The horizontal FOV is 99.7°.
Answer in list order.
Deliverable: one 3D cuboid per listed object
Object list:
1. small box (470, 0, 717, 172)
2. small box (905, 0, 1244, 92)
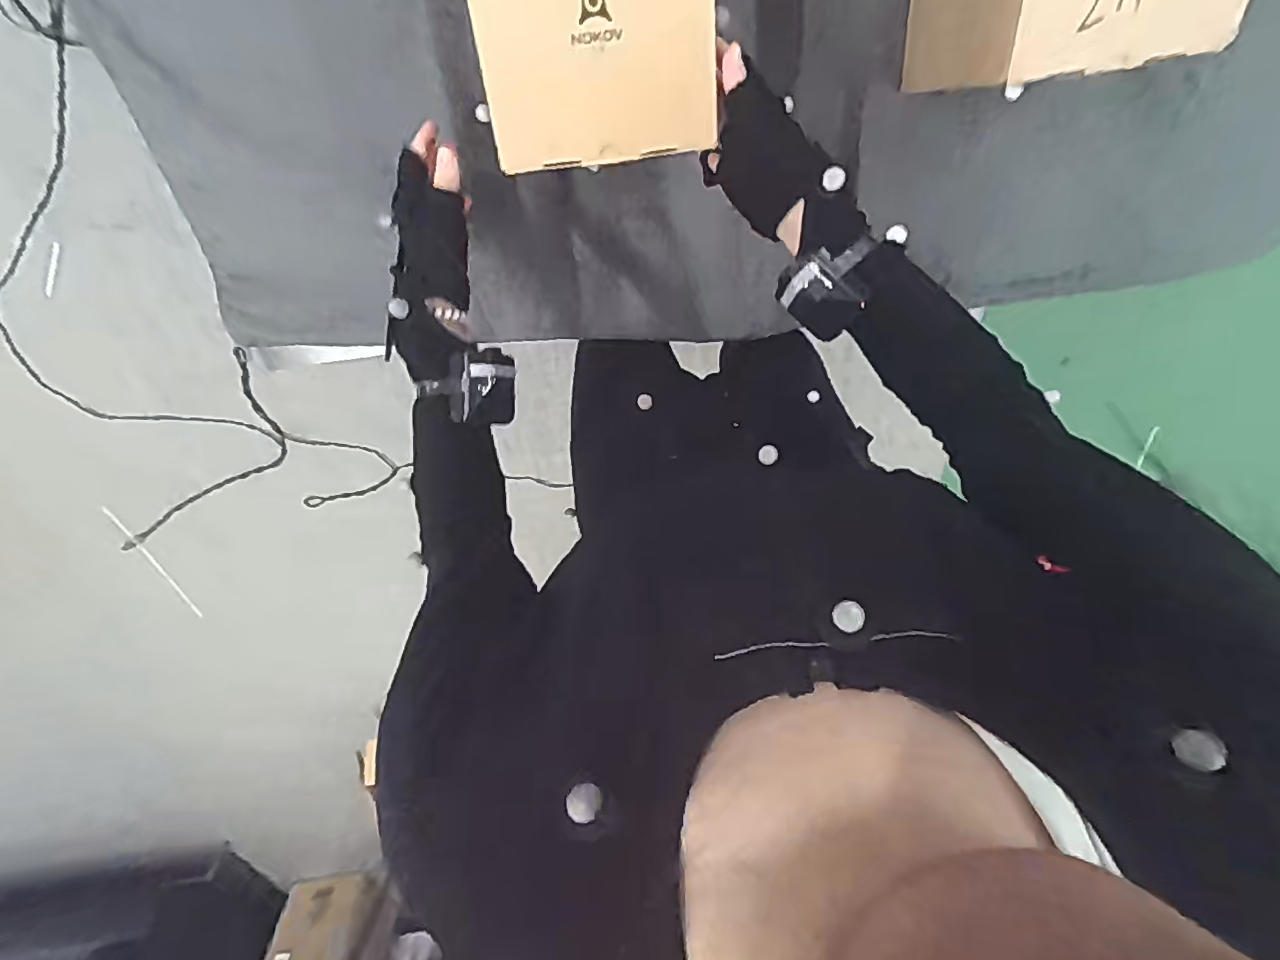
[{"bbox_3d":[-0.038,-0.357,0.427,0.168,0.176,0.179,-8,125,-1],"label":"small box"},{"bbox_3d":[0.329,-0.418,0.414,0.168,0.176,0.179,-8,124,1],"label":"small box"}]
